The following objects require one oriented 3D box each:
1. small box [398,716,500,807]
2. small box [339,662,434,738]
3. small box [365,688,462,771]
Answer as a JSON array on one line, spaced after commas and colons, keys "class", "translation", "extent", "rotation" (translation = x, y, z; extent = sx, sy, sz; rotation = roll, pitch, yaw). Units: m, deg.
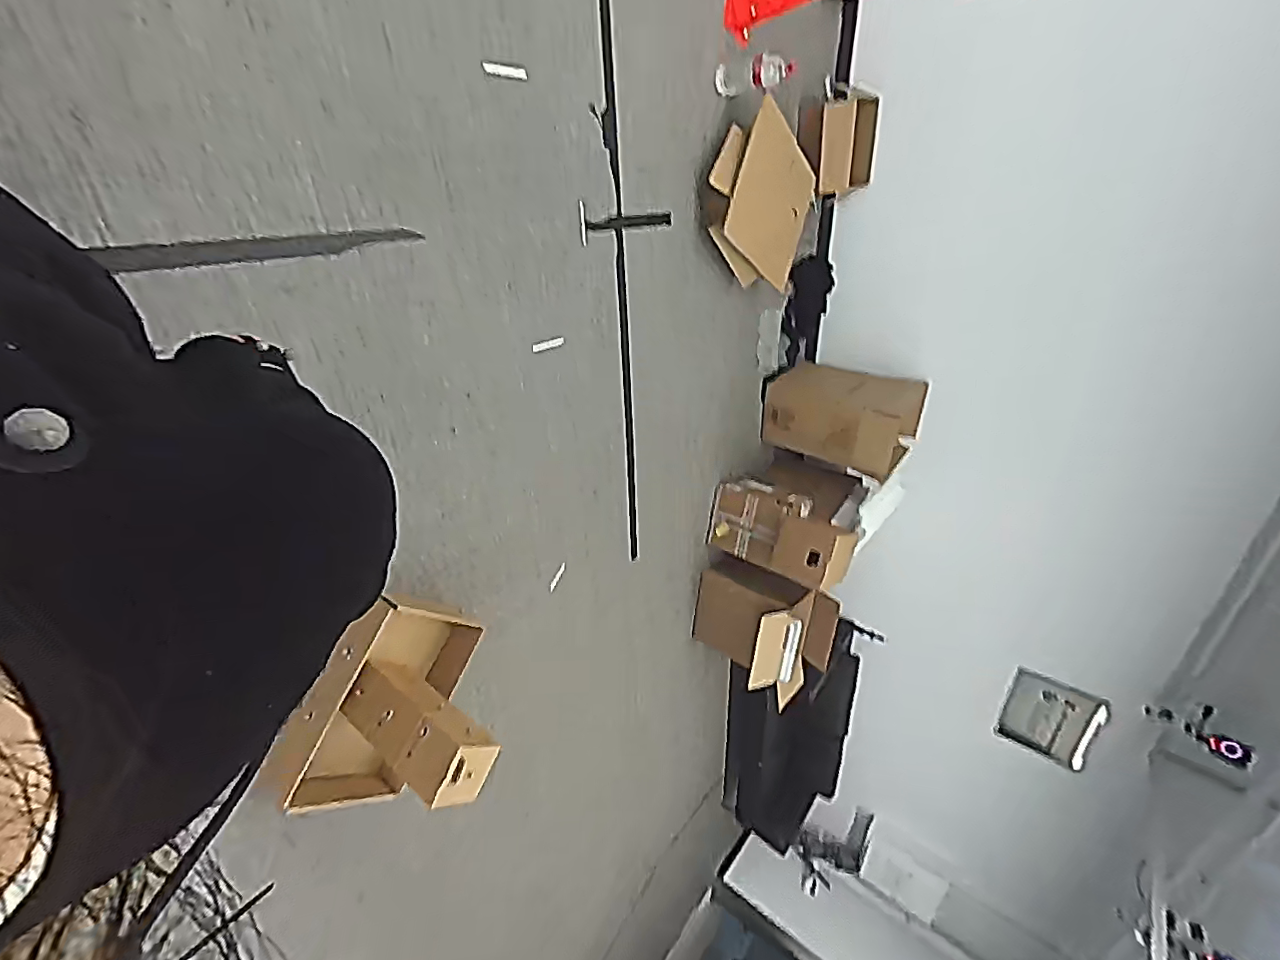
[{"class": "small box", "translation": [-0.539, 0.784, 1.523], "extent": [0.168, 0.176, 0.179], "rotation": [-64, 147, -10]}, {"class": "small box", "translation": [-0.797, 0.691, 1.700], "extent": [0.168, 0.176, 0.179], "rotation": [-63, 145, -12]}, {"class": "small box", "translation": [-0.671, 0.738, 1.610], "extent": [0.179, 0.176, 0.168], "rotation": [42, 71, -53]}]
